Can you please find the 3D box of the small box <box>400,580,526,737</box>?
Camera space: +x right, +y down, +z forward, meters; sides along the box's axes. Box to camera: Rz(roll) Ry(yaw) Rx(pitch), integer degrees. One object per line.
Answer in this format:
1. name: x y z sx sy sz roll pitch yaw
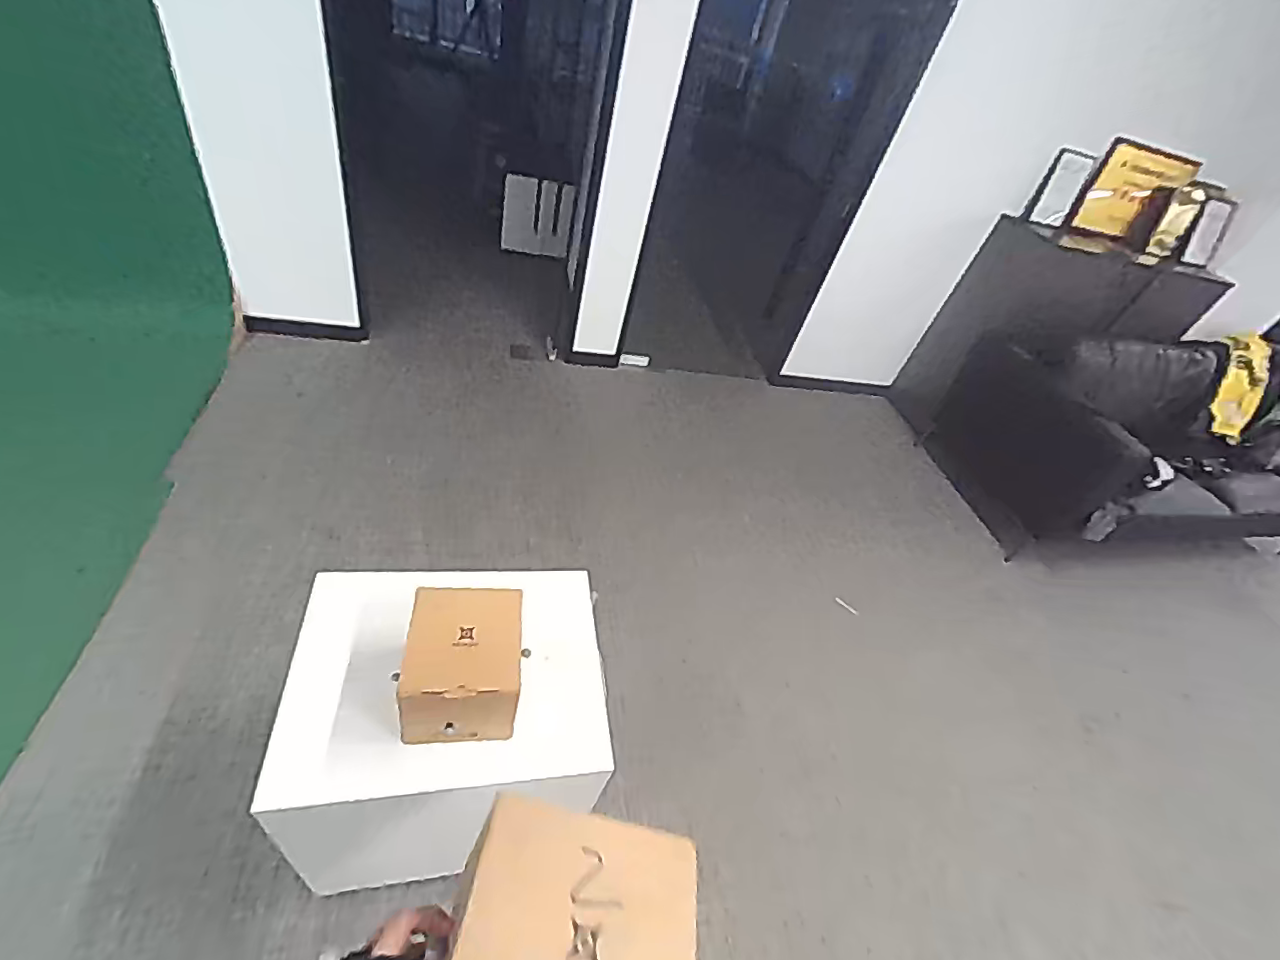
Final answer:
1. small box: -0.273 0.279 0.850 0.168 0.176 0.179 4 42 -15
